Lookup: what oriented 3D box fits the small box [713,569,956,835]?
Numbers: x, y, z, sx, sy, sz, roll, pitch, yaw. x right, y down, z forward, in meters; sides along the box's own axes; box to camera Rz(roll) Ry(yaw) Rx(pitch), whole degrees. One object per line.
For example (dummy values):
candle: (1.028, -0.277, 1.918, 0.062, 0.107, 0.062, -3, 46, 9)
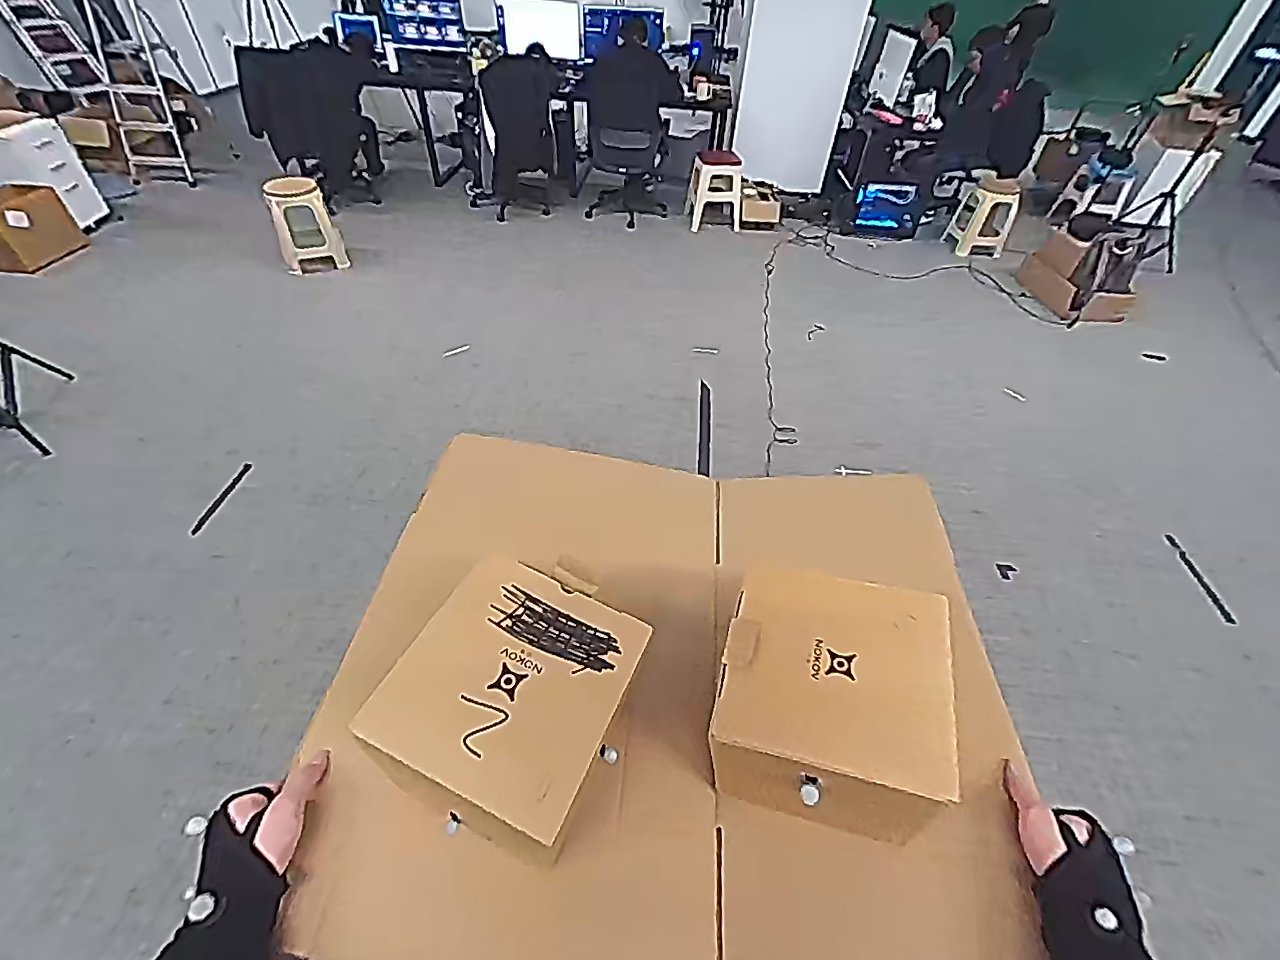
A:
small box: (0.176, 0.210, 0.510, 0.179, 0.176, 0.168, 7, 50, 19)
